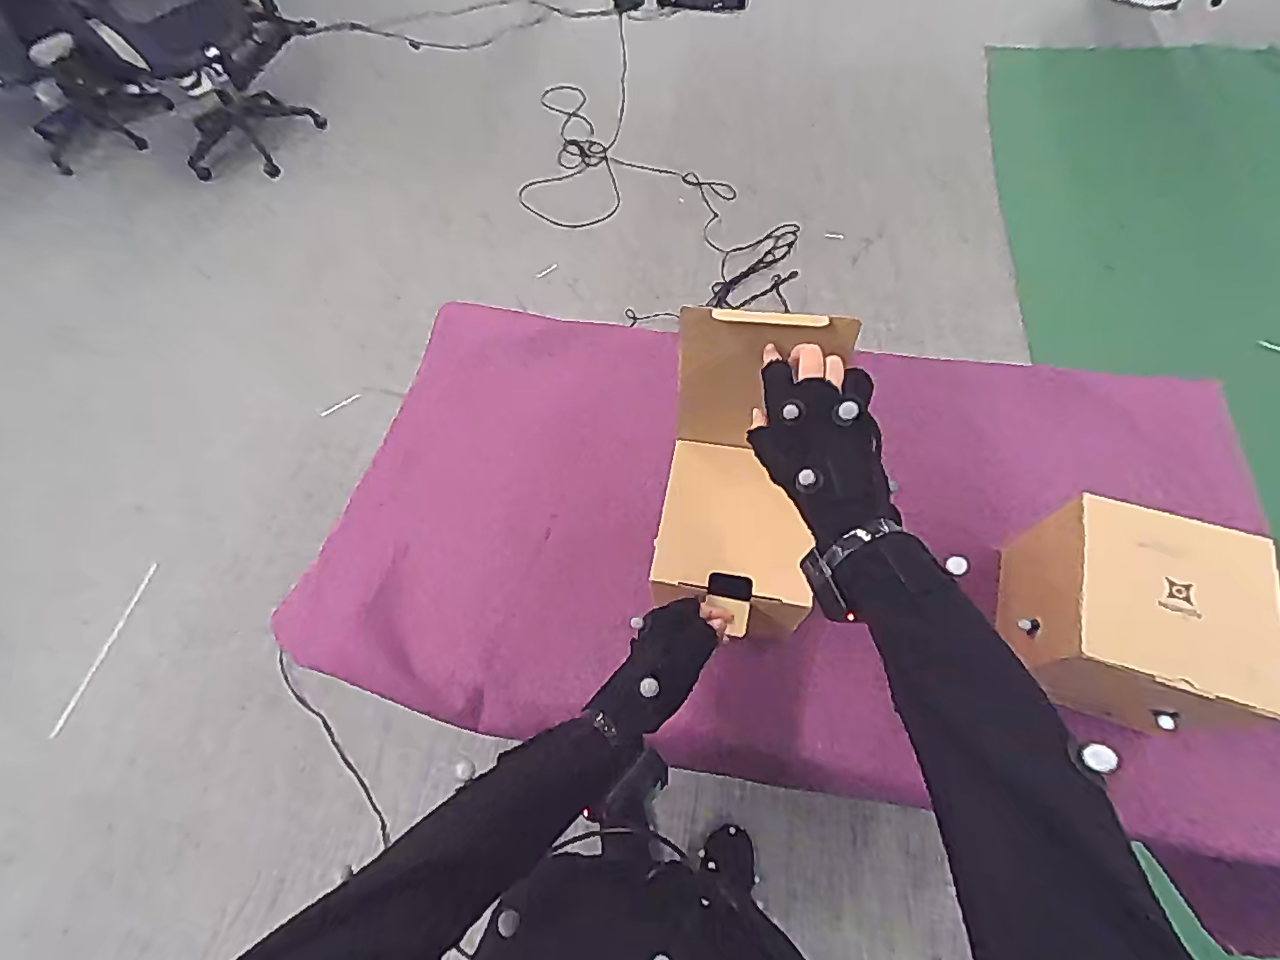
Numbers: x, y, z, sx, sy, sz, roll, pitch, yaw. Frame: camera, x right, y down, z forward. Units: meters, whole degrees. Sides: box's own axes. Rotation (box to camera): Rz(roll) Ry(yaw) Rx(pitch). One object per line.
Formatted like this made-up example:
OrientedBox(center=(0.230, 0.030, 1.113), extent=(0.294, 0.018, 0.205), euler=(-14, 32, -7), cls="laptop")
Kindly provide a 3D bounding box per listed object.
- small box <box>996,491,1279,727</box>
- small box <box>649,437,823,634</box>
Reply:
OrientedBox(center=(0.506, 0.143, 0.570), extent=(0.168, 0.176, 0.179), euler=(17, 64, 14), cls="small box")
OrientedBox(center=(0.113, 0.073, 0.646), extent=(0.168, 0.176, 0.179), euler=(8, 64, 9), cls="small box")
